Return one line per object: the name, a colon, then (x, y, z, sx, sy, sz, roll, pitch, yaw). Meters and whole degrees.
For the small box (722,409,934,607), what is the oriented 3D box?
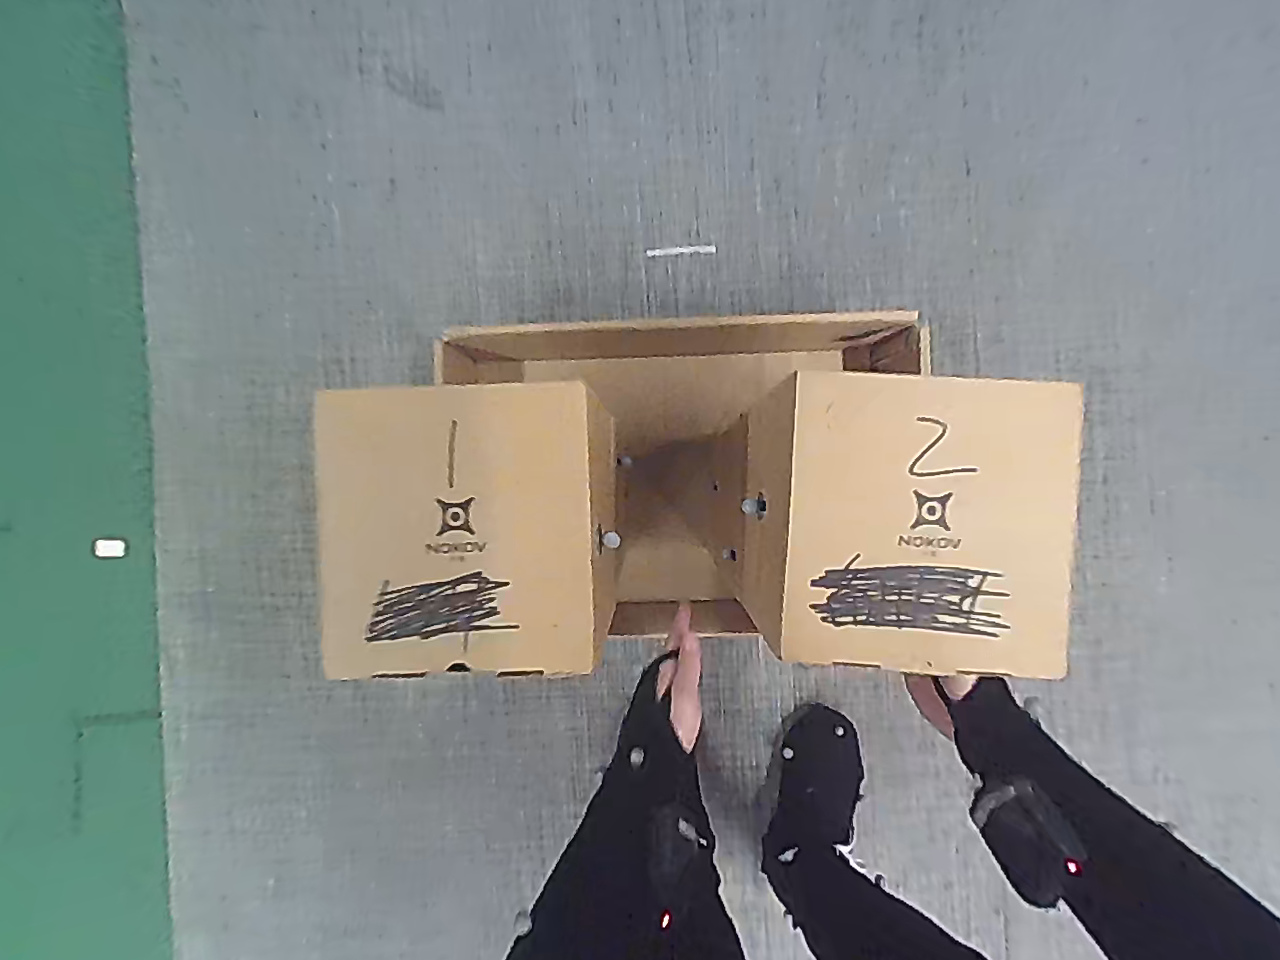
small box: (0.177, 0.023, 0.557, 0.168, 0.176, 0.179, 0, 92, 1)

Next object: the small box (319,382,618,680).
small box: (-0.104, 0.030, 0.398, 0.168, 0.176, 0.179, -1, 90, 1)
